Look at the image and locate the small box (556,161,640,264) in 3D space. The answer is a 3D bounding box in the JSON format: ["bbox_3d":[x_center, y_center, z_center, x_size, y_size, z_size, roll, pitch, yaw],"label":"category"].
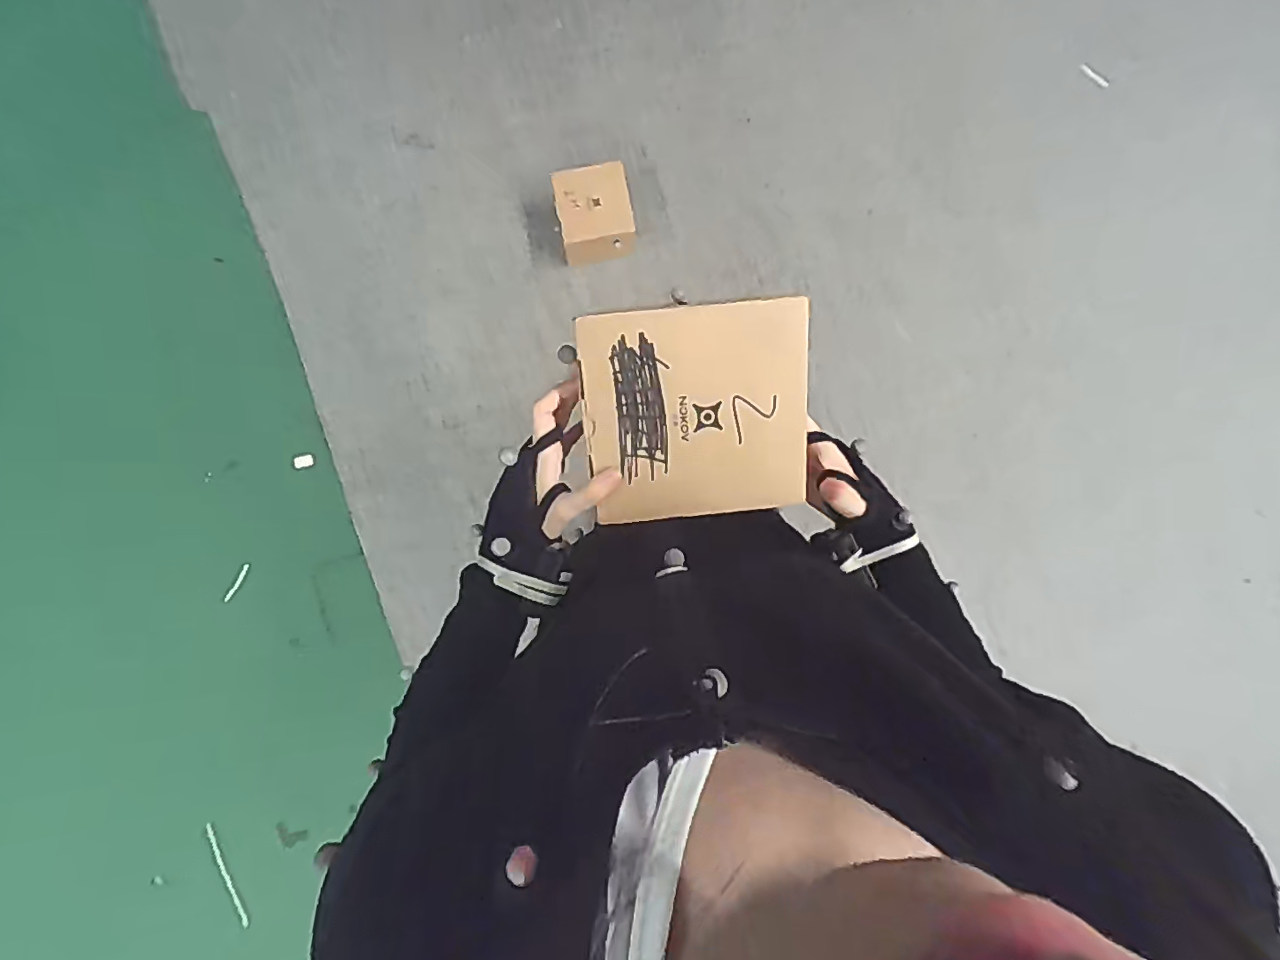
[{"bbox_3d":[-0.103,-0.661,1.353,0.179,0.176,0.168,-12,95,-2],"label":"small box"}]
